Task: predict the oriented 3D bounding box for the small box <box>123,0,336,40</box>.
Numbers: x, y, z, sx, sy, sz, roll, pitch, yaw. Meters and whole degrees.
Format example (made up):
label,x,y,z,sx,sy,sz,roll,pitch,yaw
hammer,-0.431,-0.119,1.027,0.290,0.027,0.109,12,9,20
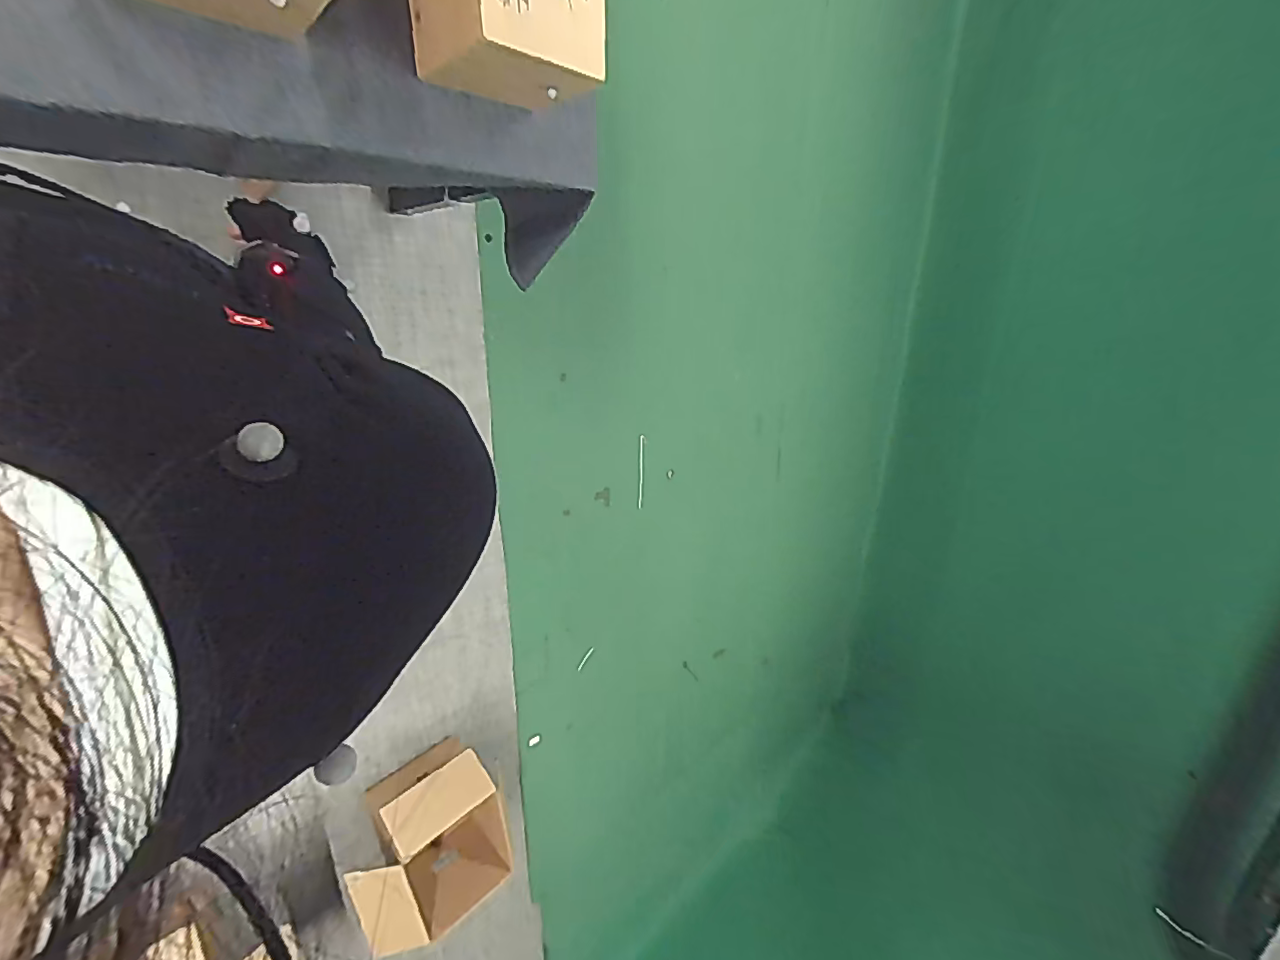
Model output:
label,x,y,z,sx,sy,sz,roll,pitch,yaw
small box,-0.384,-0.514,0.458,0.179,0.176,0.168,-16,115,-41
